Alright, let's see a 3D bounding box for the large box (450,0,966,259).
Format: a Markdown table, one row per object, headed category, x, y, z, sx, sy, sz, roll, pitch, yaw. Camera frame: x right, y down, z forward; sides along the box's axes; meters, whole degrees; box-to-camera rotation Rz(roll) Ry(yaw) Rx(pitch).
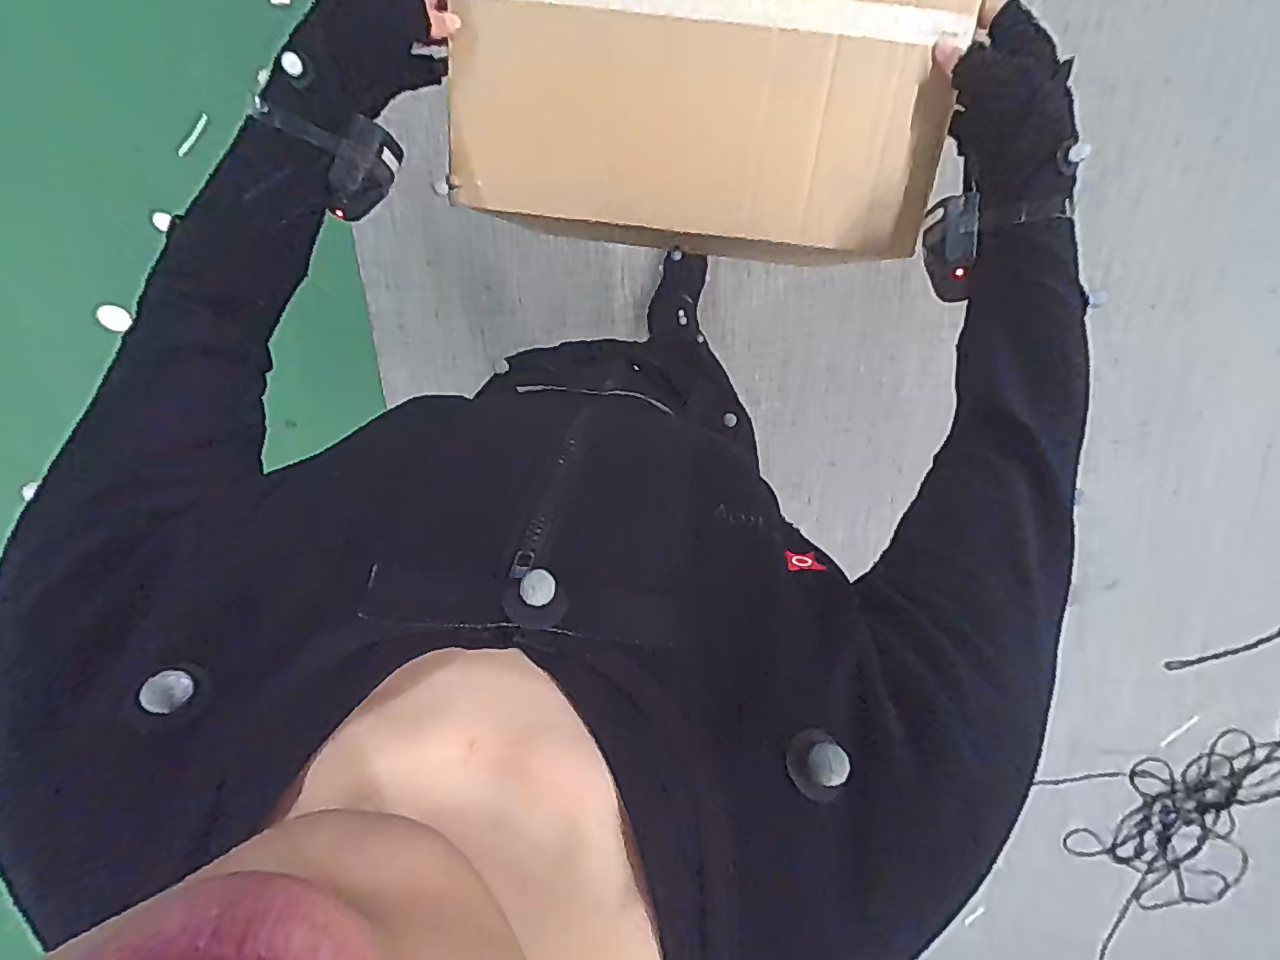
| category | x | y | z | sx | sy | sz | roll | pitch | yaw |
| --- | --- | --- | --- | --- | --- | --- | --- | --- | --- |
| large box | 0.057 | -0.413 | 0.559 | 0.408 | 0.320 | 0.320 | 7 | 109 | 0 |
